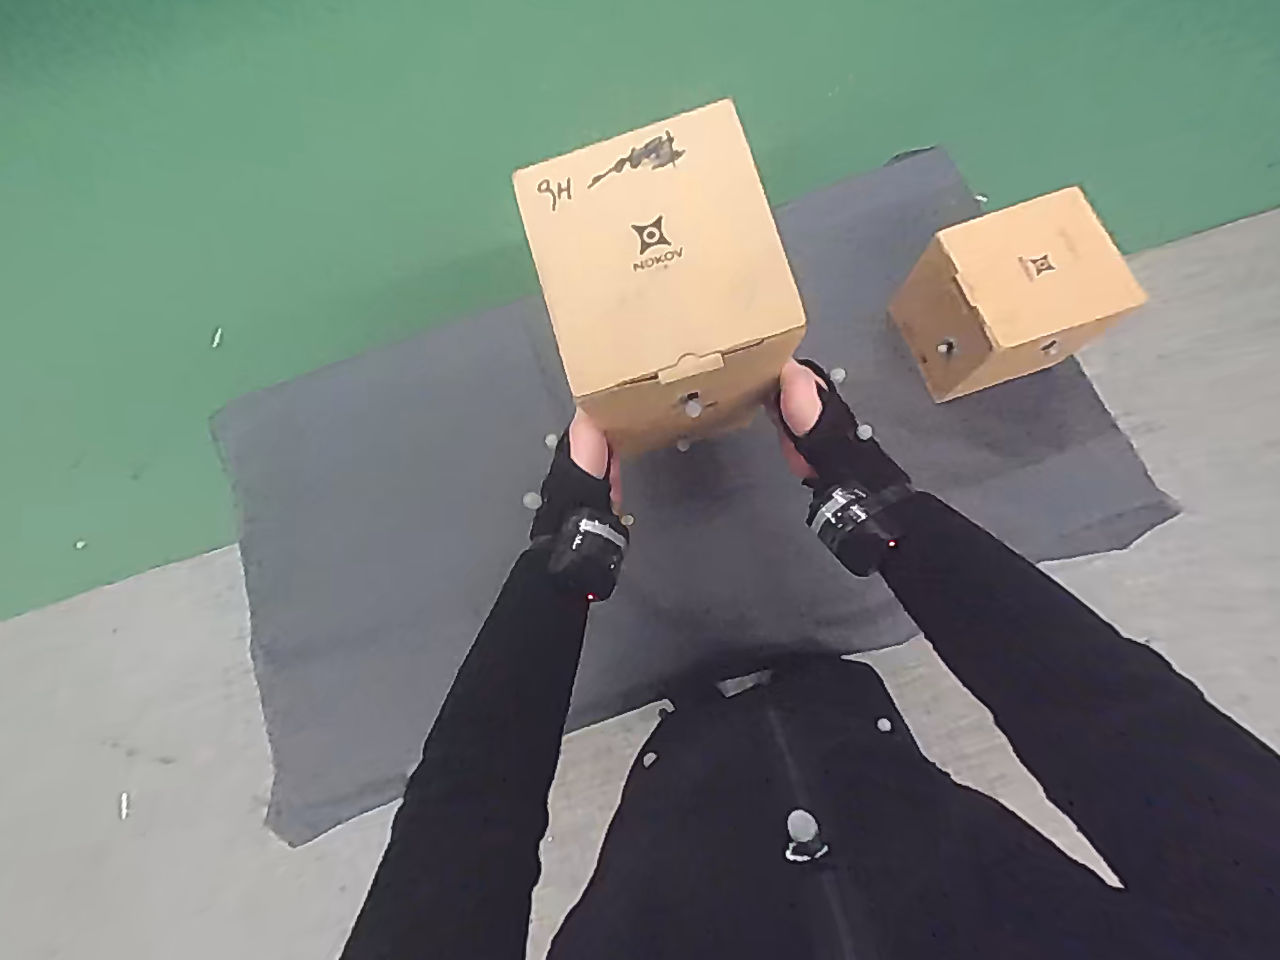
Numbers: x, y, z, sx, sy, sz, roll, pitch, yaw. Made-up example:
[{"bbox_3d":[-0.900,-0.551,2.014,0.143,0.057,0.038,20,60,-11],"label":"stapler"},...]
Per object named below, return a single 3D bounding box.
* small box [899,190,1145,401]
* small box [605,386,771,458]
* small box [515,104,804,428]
[{"bbox_3d":[0.462,-0.223,0.697,0.179,0.176,0.168,-19,76,0],"label":"small box"},{"bbox_3d":[0.036,-0.136,0.611,0.168,0.176,0.179,-15,84,5],"label":"small box"},{"bbox_3d":[0.019,-0.150,0.449,0.168,0.176,0.179,-16,84,4],"label":"small box"}]
